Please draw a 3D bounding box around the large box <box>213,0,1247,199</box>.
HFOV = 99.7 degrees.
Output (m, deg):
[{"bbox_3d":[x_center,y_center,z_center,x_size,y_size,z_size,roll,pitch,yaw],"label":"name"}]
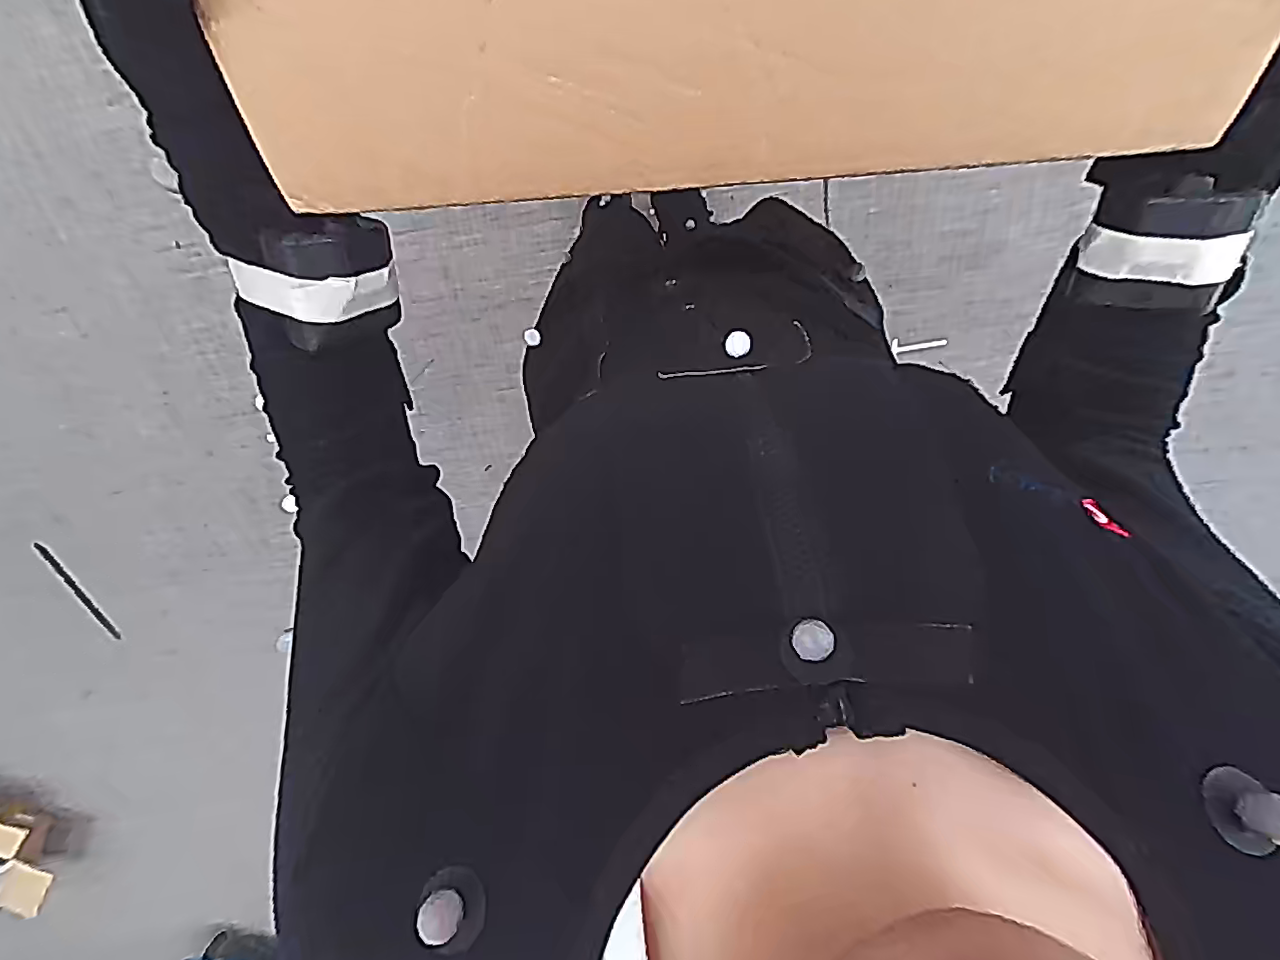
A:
[{"bbox_3d":[0.030,-0.358,0.242,0.408,0.320,0.320,-3,134,1],"label":"large box"}]
